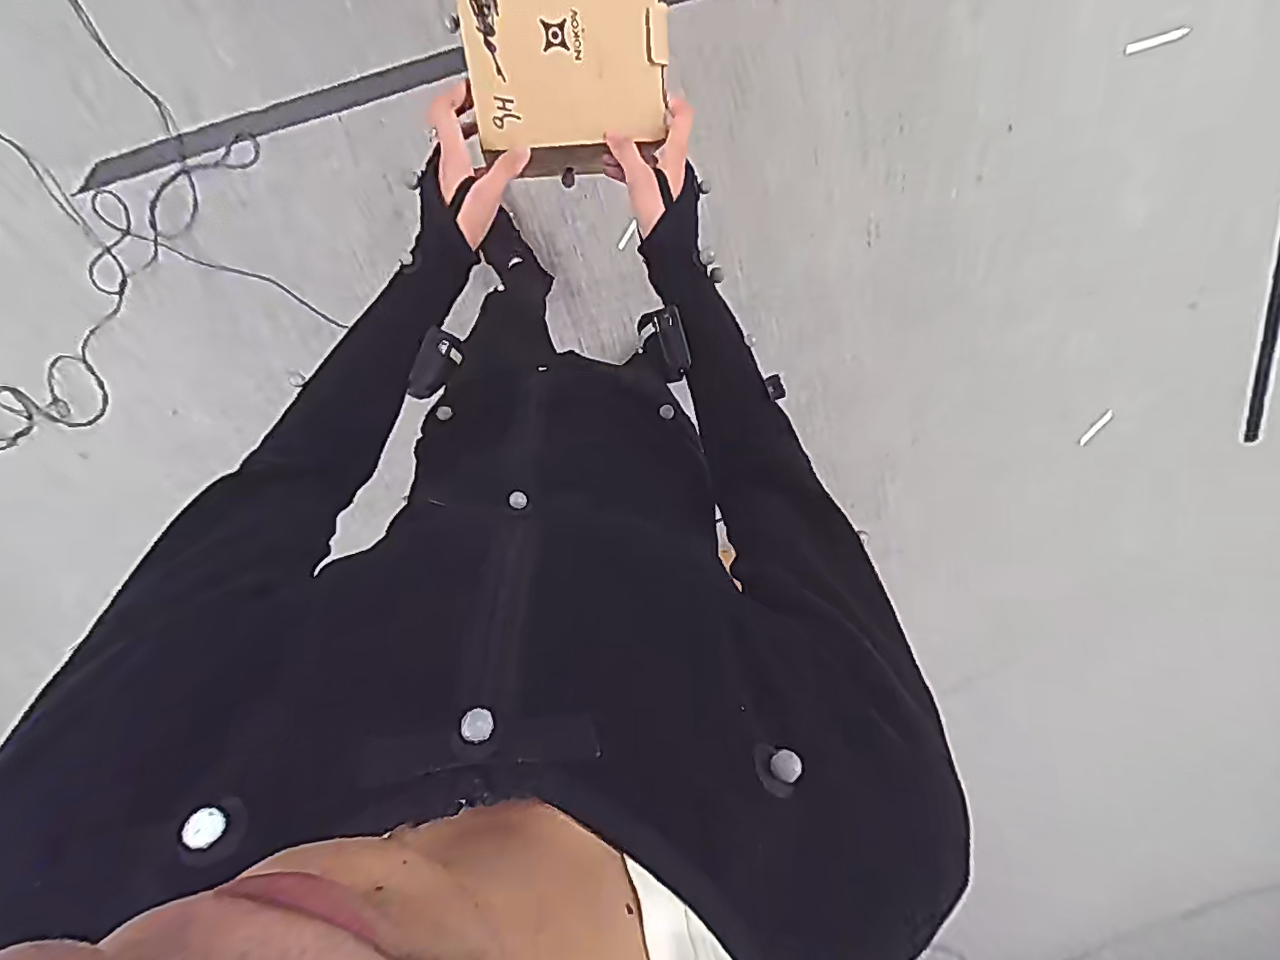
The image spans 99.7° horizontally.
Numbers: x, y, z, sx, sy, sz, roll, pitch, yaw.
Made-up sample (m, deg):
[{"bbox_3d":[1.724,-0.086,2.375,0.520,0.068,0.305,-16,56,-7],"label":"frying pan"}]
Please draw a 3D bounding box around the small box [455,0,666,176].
[{"bbox_3d":[-0.082,-0.411,0.537,0.179,0.176,0.168,-9,111,-9],"label":"small box"}]
